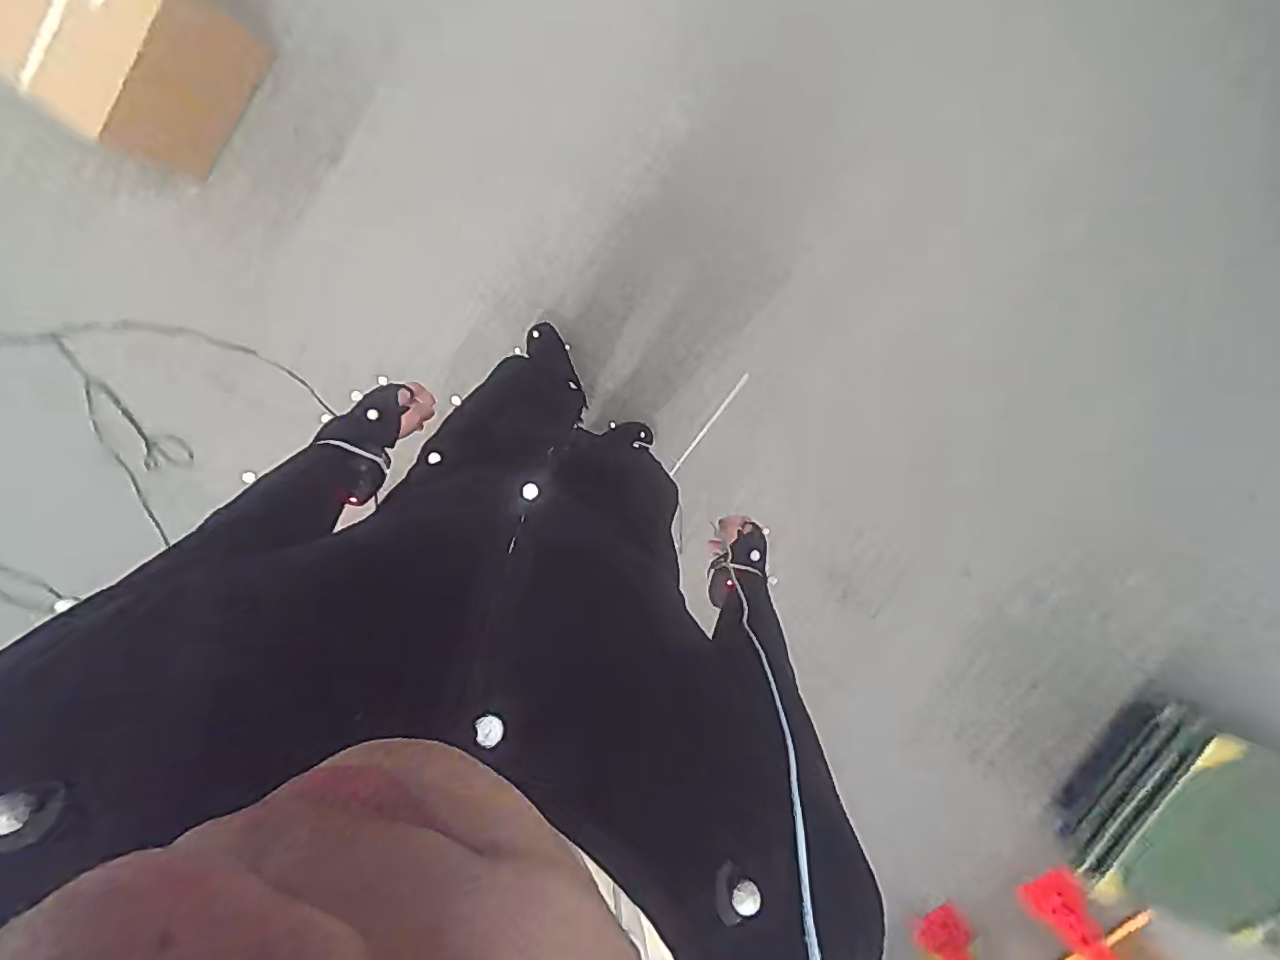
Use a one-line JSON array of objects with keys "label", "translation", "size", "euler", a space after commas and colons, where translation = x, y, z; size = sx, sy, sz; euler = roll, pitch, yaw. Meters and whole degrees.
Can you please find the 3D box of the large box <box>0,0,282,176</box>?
[{"label": "large box", "translation": [-1.147, -1.017, 1.250], "size": [0.320, 0.320, 0.408], "euler": [38, 100, -8]}]
